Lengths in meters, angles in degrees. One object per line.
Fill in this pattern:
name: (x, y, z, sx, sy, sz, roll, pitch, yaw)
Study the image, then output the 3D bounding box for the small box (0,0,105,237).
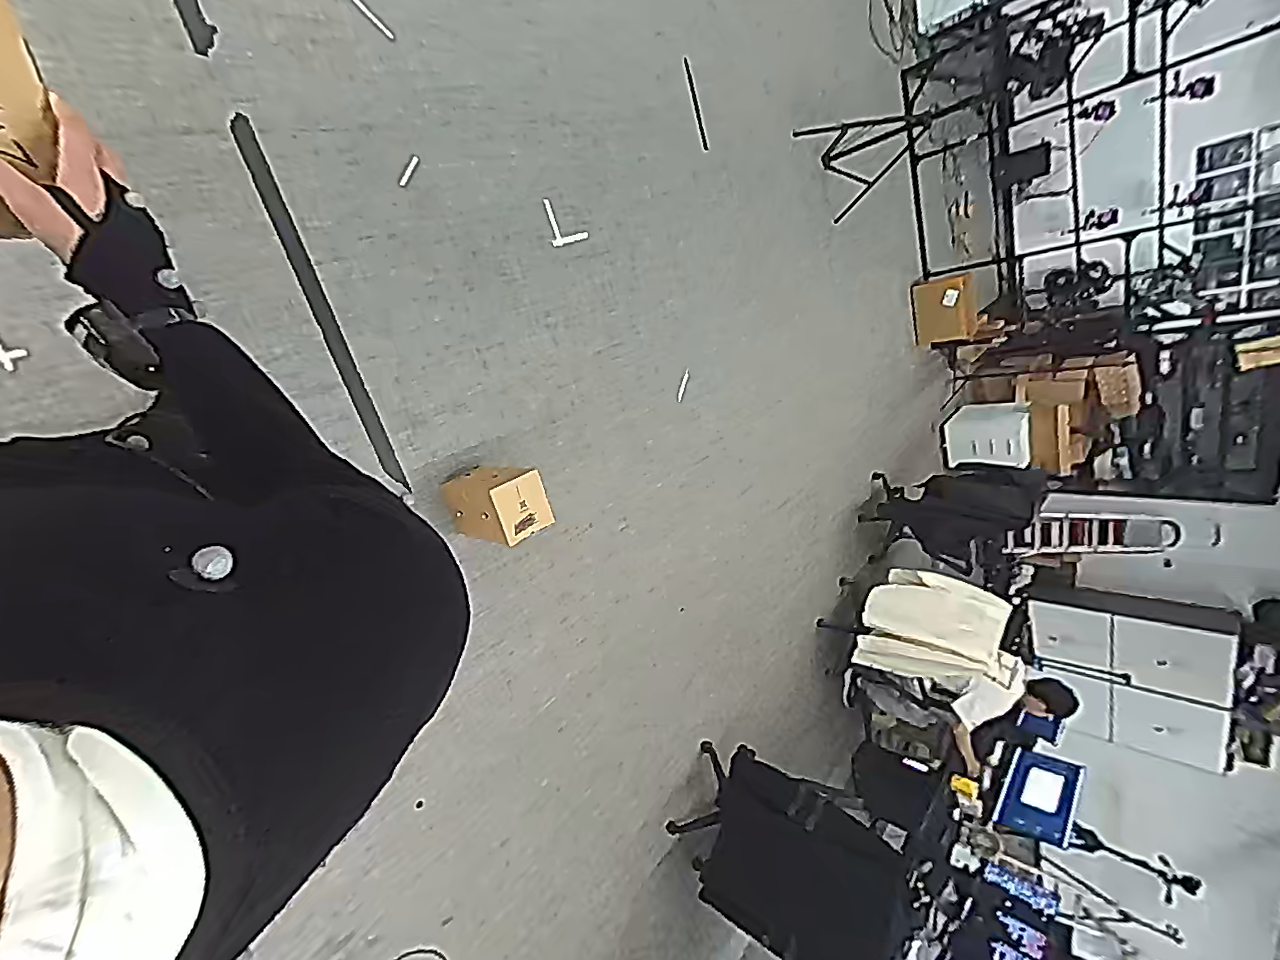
small box: (-0.577, -0.282, 0.419, 0.179, 0.176, 0.168, -29, 125, -47)

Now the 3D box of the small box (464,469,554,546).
small box: (-0.386, 0.074, 1.590, 0.168, 0.176, 0.179, -30, 111, -38)
